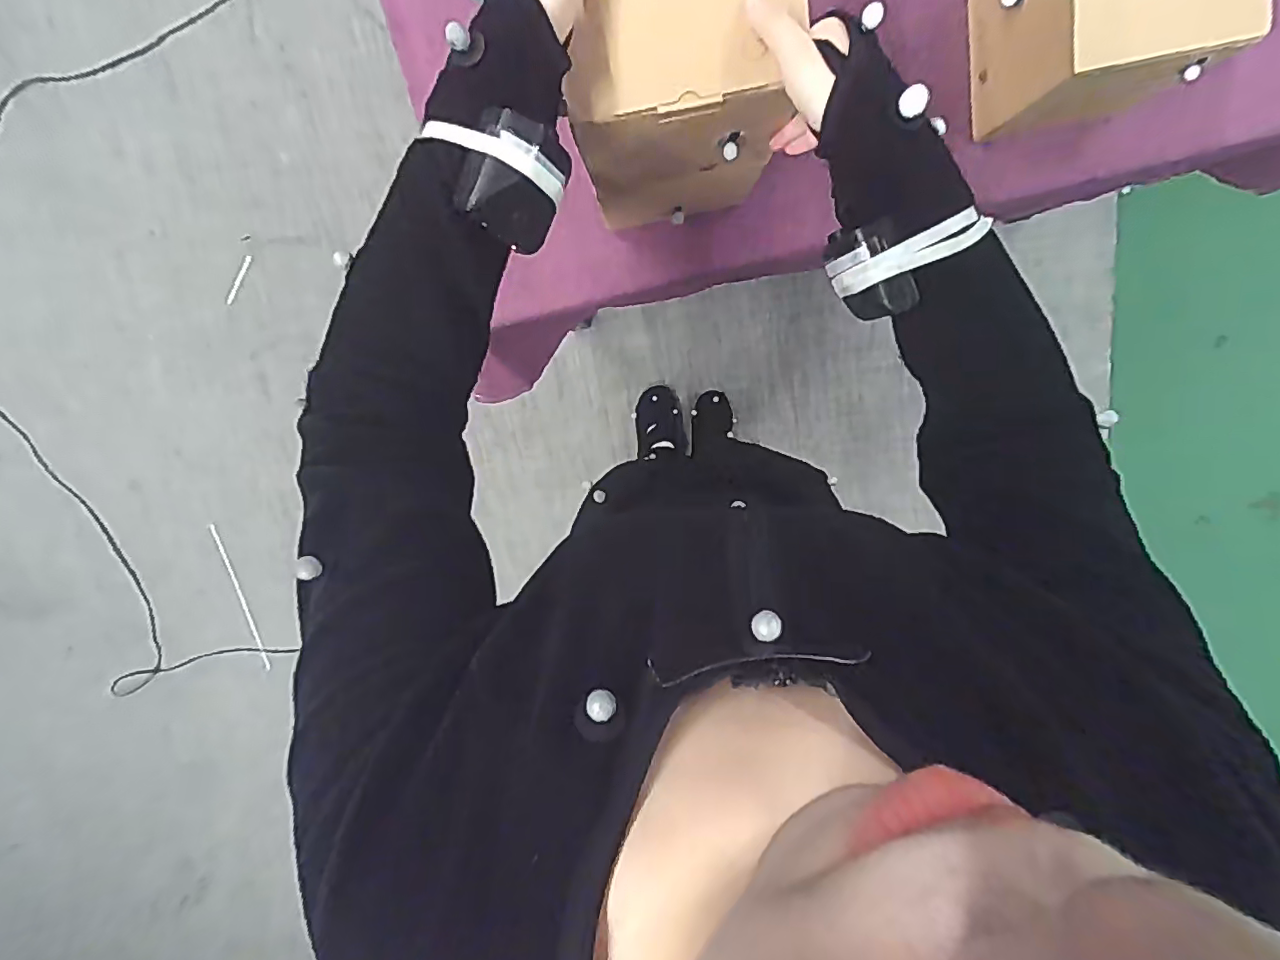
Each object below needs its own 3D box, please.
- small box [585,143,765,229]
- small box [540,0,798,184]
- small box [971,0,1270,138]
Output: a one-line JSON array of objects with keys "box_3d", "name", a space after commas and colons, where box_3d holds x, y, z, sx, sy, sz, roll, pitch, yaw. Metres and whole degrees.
[{"box_3d": [0.022, -0.388, 0.582, 0.179, 0.176, 0.168, -10, 103, 3], "name": "small box"}, {"box_3d": [0.018, -0.351, 0.421, 0.168, 0.176, 0.179, -8, 102, 4], "name": "small box"}, {"box_3d": [0.464, -0.479, 0.551, 0.179, 0.176, 0.168, -10, 103, 3], "name": "small box"}]
